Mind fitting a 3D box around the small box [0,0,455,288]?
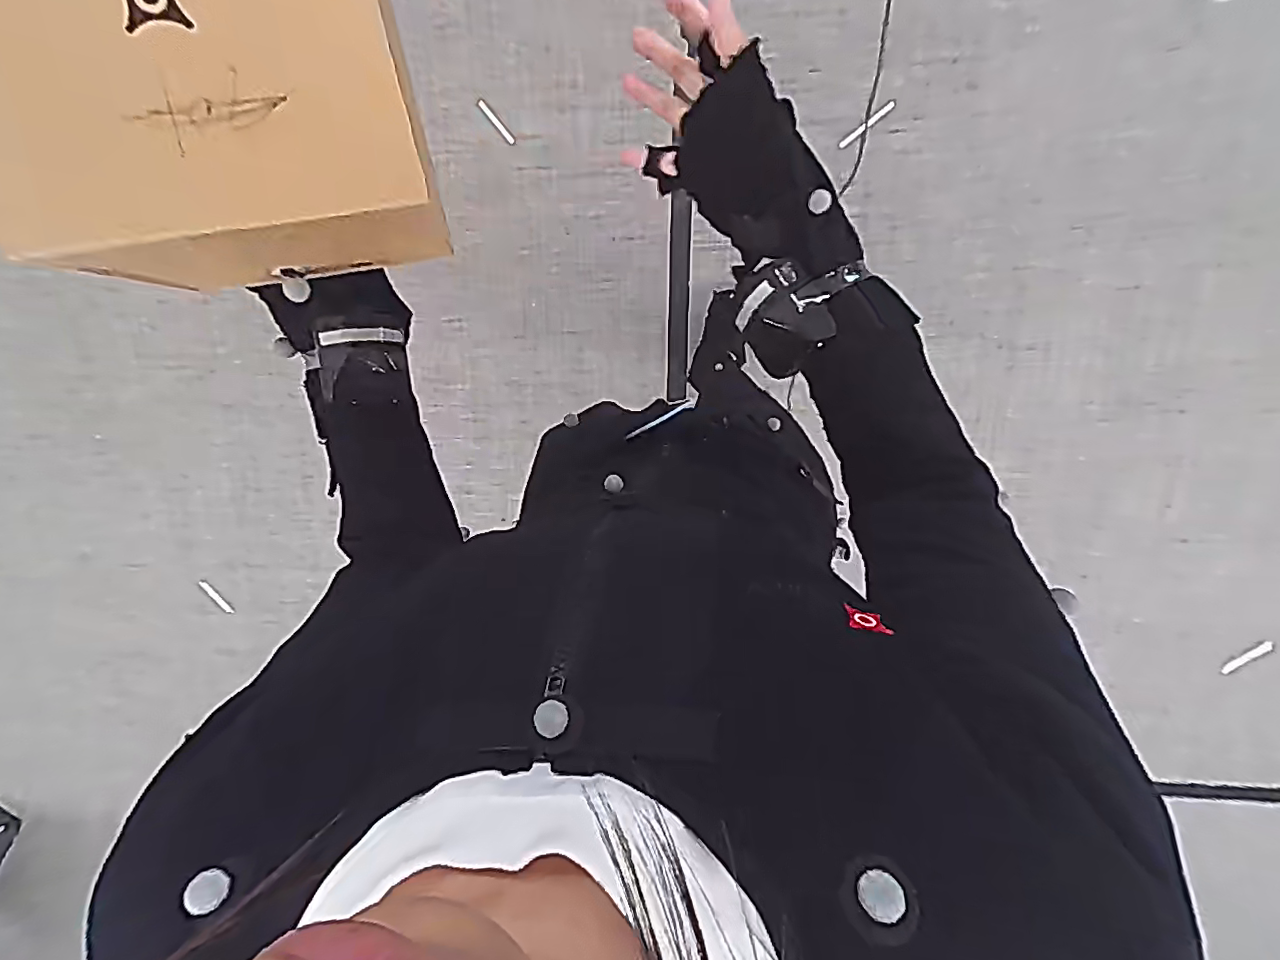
[{"bbox_3d":[-0.206,-0.213,0.291,0.168,0.176,0.179,-14,107,-12],"label":"small box"}]
